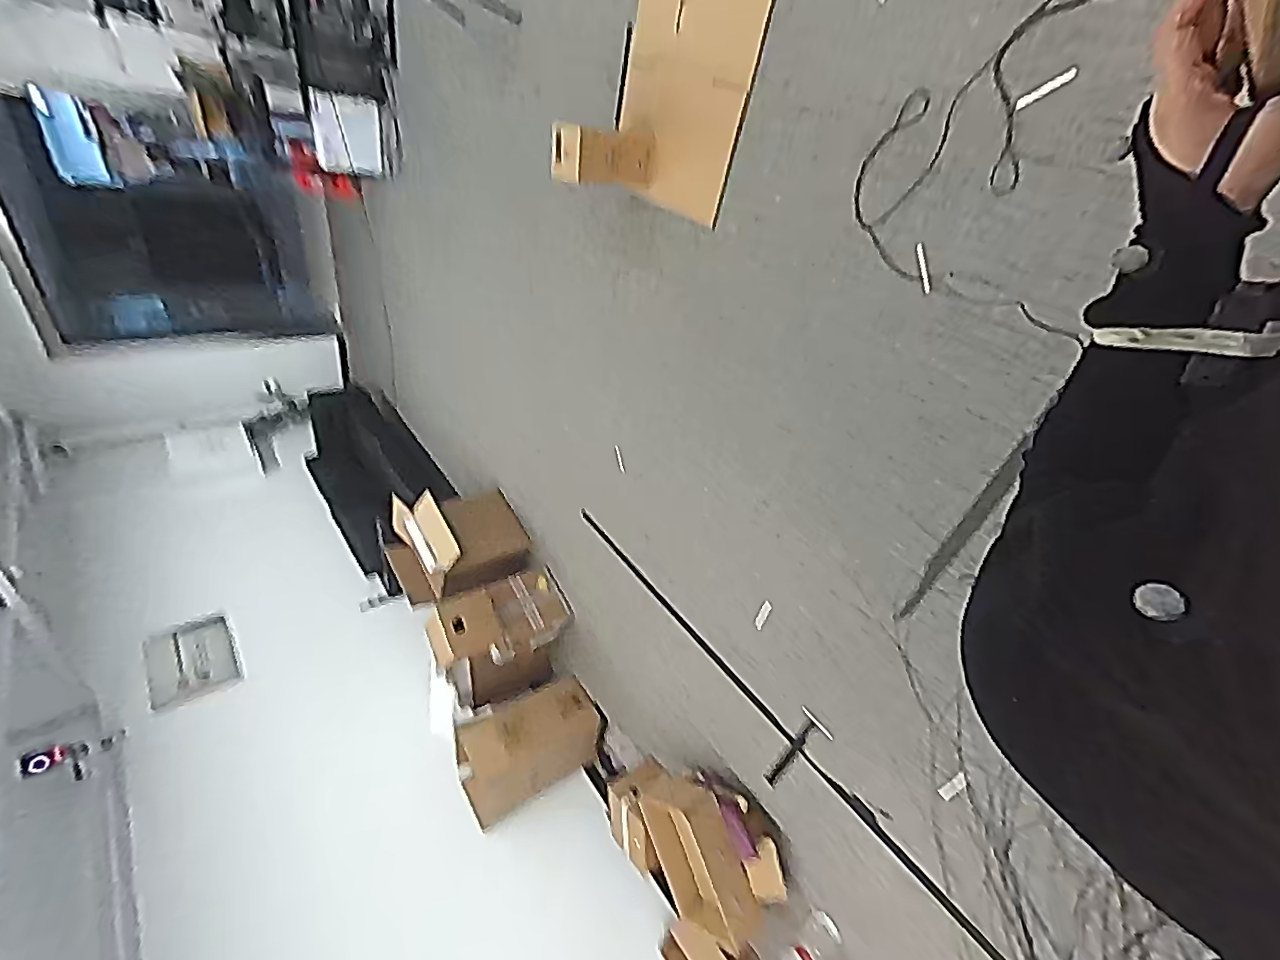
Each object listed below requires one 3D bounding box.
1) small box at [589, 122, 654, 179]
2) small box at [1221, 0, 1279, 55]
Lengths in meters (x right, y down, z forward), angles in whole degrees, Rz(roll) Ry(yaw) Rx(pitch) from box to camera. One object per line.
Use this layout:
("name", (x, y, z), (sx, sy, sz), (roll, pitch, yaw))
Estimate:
("small box", (-0.071, -1.218, 2.000), (0.179, 0.176, 0.168), (35, 131, 40))
("small box", (0.315, -0.295, 0.185), (0.168, 0.176, 0.179), (-13, 90, 46))
